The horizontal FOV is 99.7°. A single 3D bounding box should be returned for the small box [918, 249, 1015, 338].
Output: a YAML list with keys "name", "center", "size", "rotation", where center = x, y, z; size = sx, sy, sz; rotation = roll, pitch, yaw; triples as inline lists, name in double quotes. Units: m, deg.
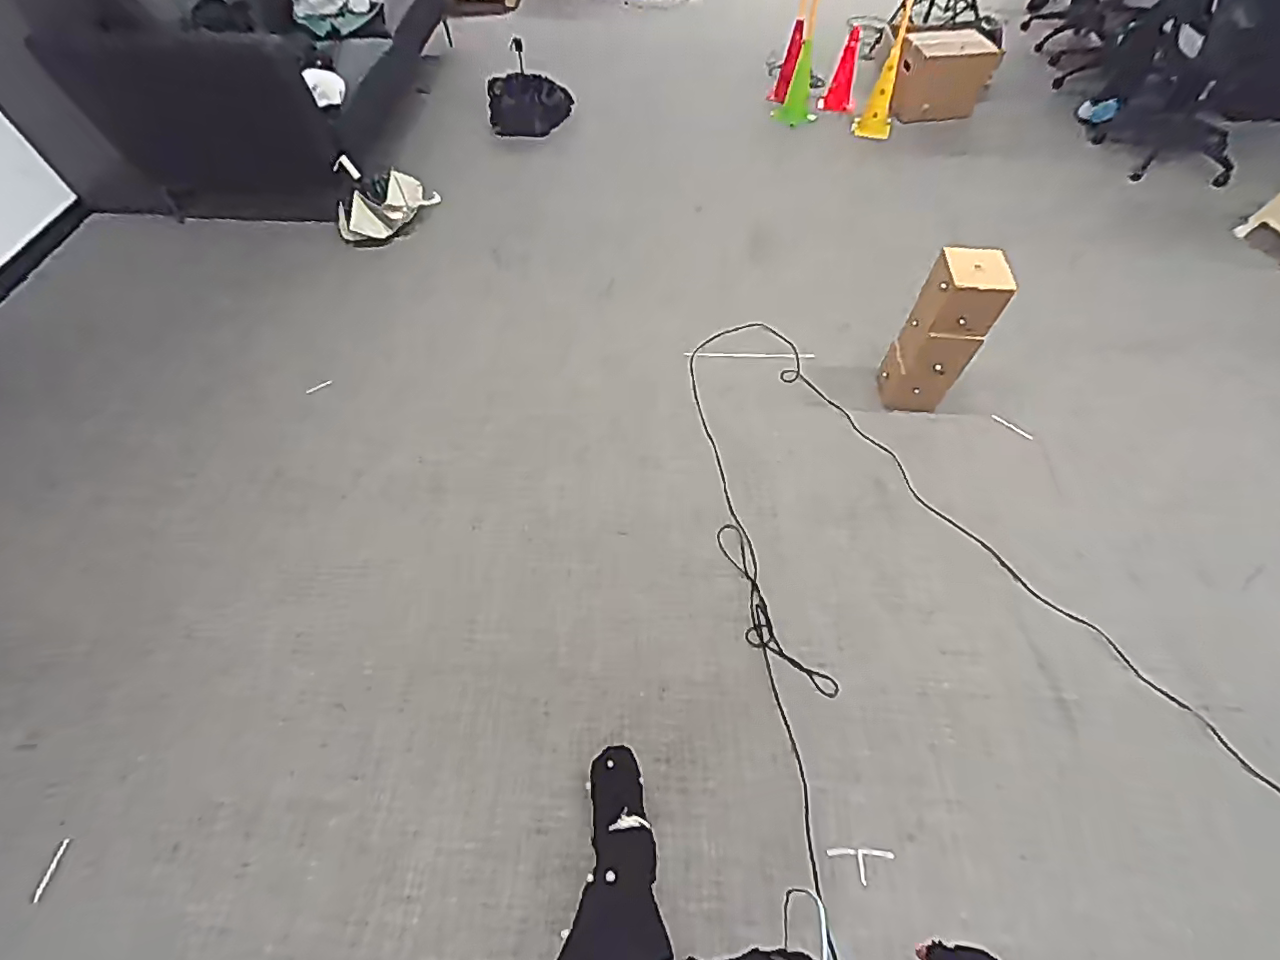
- name: "small box"
  center: [0.929, -0.536, 1.560]
  size: [0.168, 0.176, 0.179]
  rotation: [4, 57, 3]

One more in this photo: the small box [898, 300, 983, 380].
- name: "small box"
  center: [0.929, -0.439, 1.690]
  size: [0.168, 0.176, 0.179]
  rotation: [5, 58, 3]

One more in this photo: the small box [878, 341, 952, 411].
- name: "small box"
  center: [0.923, -0.350, 1.828]
  size: [0.179, 0.176, 0.168]
  rotation: [4, 57, 3]
